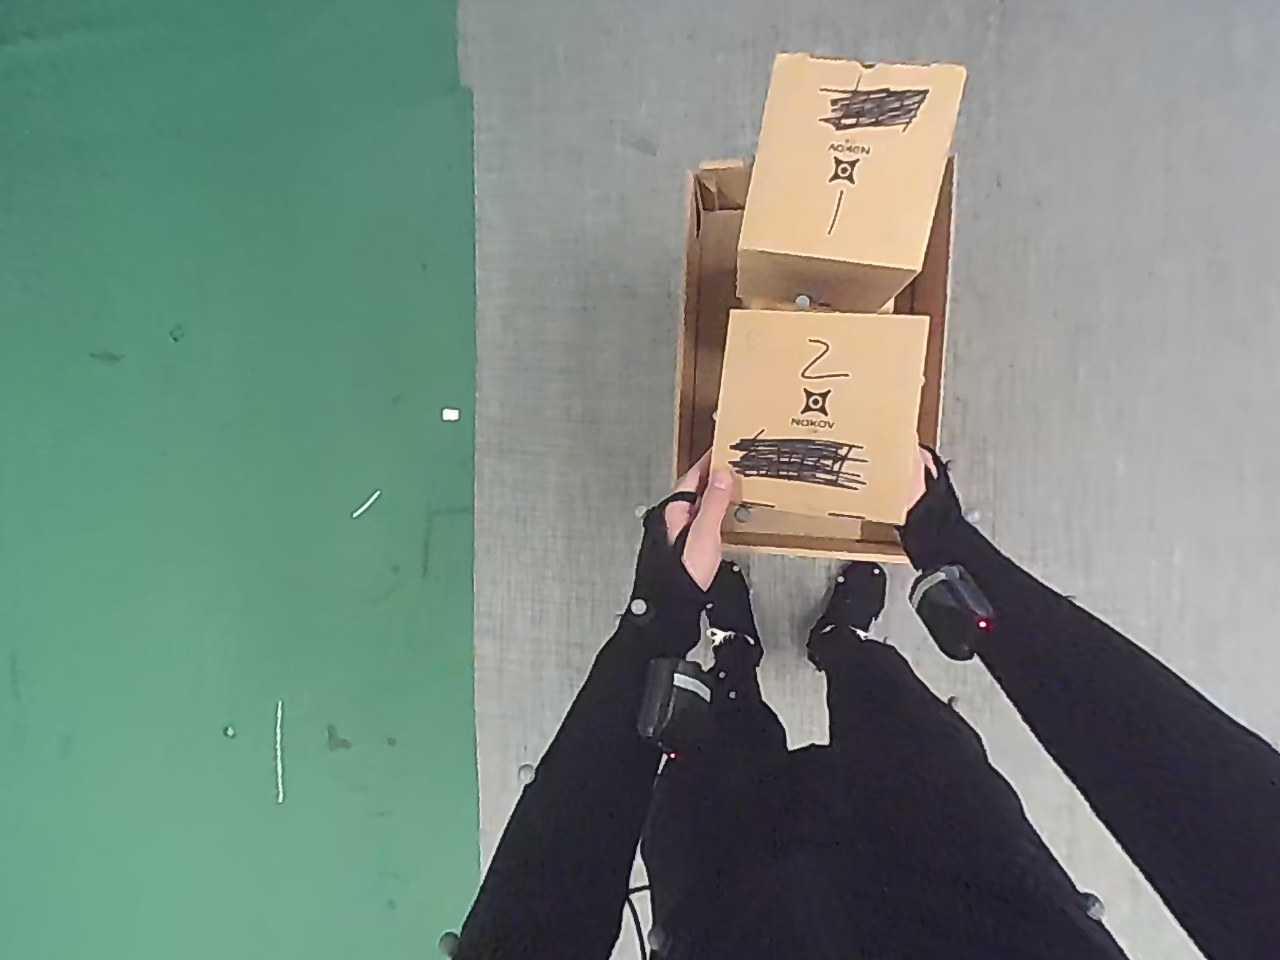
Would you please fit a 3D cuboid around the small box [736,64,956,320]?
[{"bbox_3d":[0.196,-0.285,0.569,0.168,0.176,0.179,12,95,9],"label":"small box"}]

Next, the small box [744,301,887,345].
[{"bbox_3d":[0.229,-0.288,0.730,0.168,0.176,0.179,2,93,9],"label":"small box"}]

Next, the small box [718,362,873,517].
[{"bbox_3d":[0.201,-0.051,0.737,0.168,0.176,0.179,7,91,9],"label":"small box"}]
